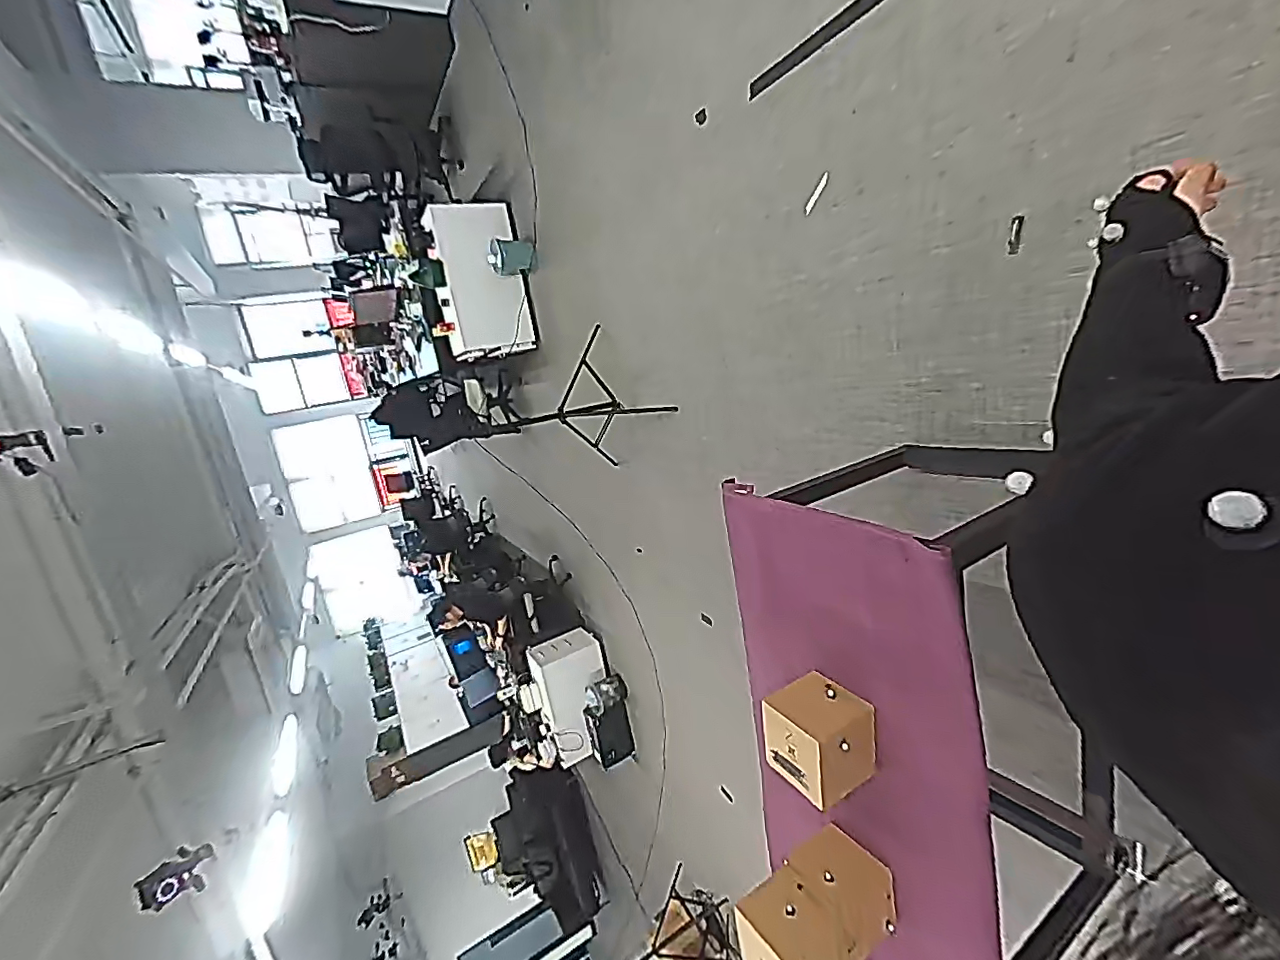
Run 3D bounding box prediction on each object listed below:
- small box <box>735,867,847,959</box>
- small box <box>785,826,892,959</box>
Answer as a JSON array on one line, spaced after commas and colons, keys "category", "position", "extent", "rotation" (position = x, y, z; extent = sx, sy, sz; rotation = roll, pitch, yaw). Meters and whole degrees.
[{"category": "small box", "position": [0.334, 1.011, 1.187], "extent": [0.168, 0.176, 0.179], "rotation": [11, 114, 60]}, {"category": "small box", "position": [0.470, 0.966, 1.270], "extent": [0.179, 0.176, 0.168], "rotation": [13, 115, 60]}]
